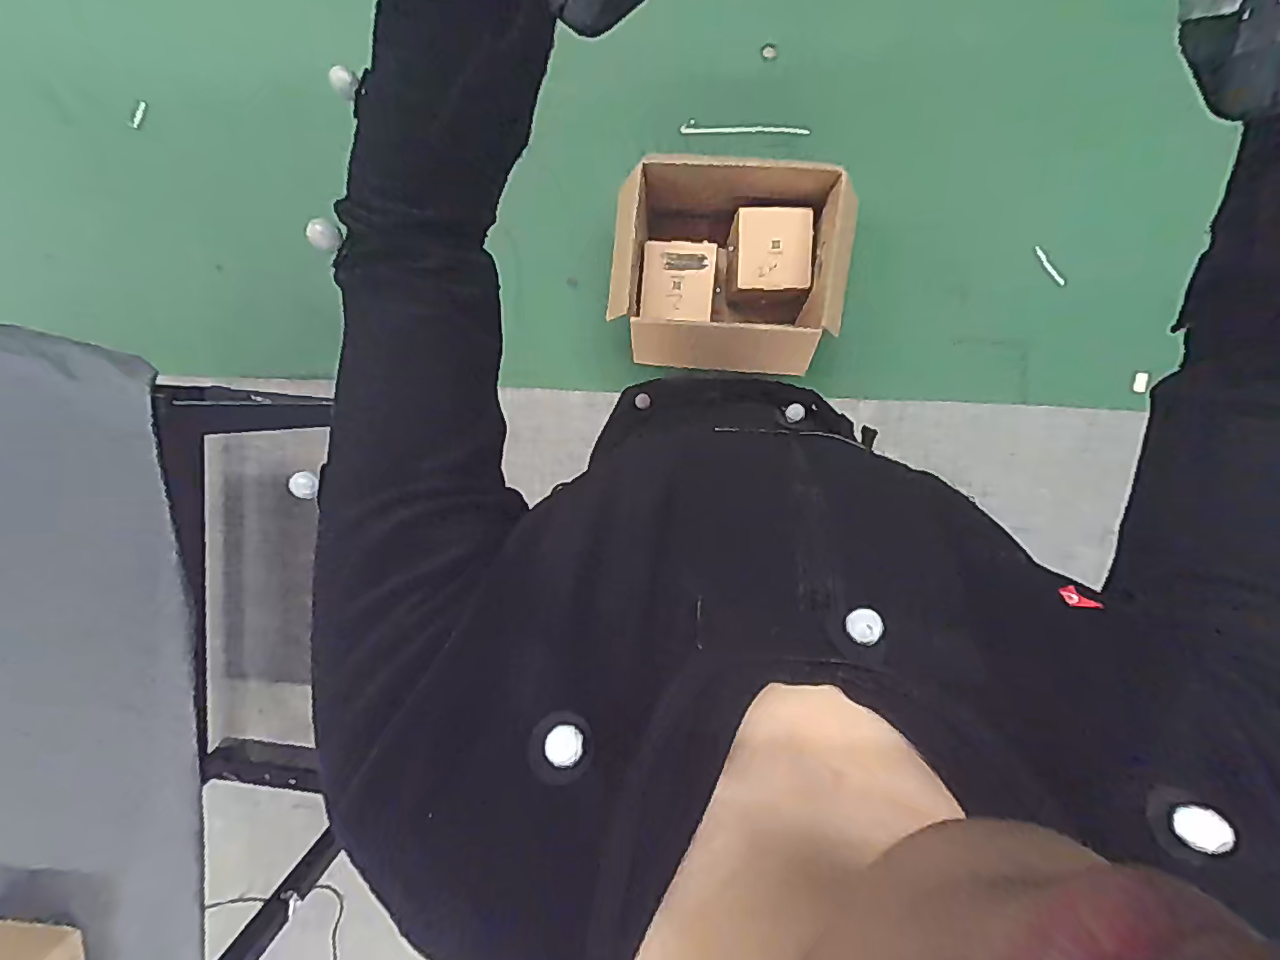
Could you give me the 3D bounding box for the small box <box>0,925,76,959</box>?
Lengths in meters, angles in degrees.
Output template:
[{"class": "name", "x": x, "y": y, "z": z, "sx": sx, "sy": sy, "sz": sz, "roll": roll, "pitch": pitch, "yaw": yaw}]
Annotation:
[{"class": "small box", "x": -1.044, "y": 0.850, "z": 0.849, "sx": 0.179, "sy": 0.176, "sz": 0.168, "roll": 1, "pitch": 97, "yaw": 5}]
